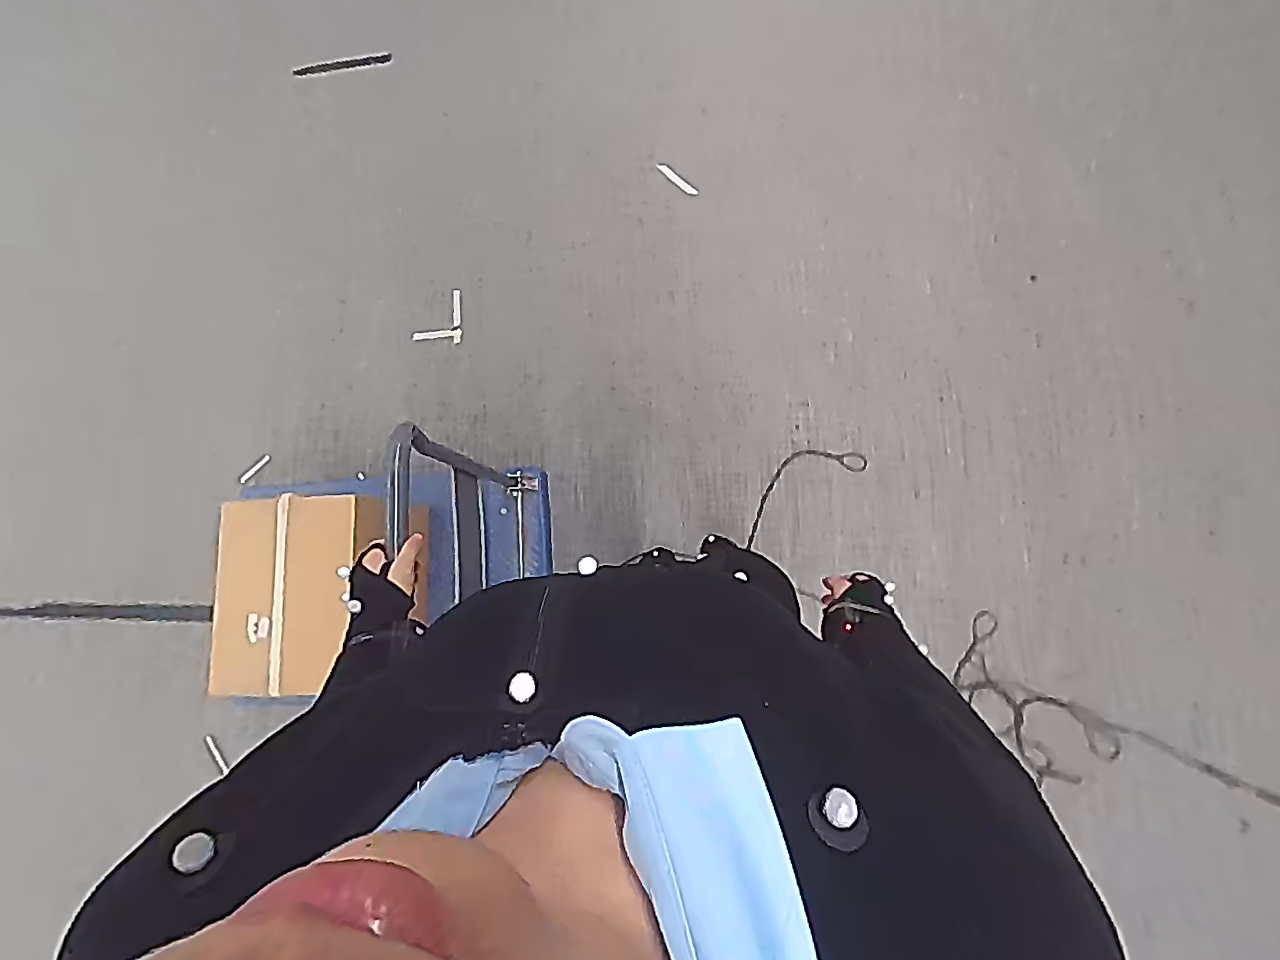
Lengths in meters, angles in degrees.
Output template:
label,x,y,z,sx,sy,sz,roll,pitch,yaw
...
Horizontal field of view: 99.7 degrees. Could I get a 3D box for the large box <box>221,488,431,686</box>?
label,x,y,z,sx,sy,sz,roll,pitch,yaw
large box,-0.709,0.238,1.274,0.320,0.320,0.408,-3,83,8
